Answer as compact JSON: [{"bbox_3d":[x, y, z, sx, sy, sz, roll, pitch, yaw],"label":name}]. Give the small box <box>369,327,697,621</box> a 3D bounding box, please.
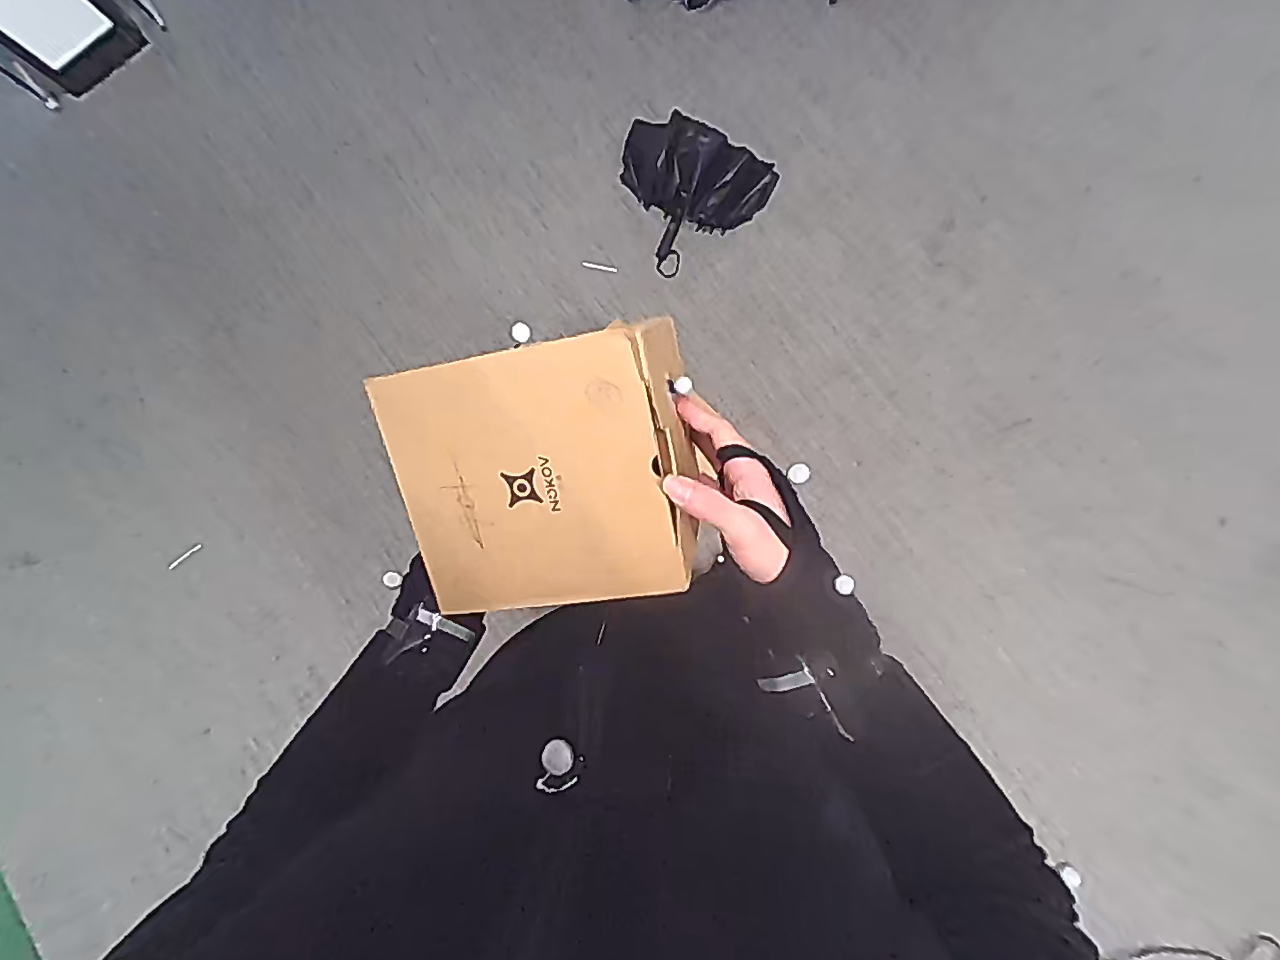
[{"bbox_3d":[-0.055,-0.016,0.410,0.179,0.176,0.168,-10,104,13],"label":"small box"}]
